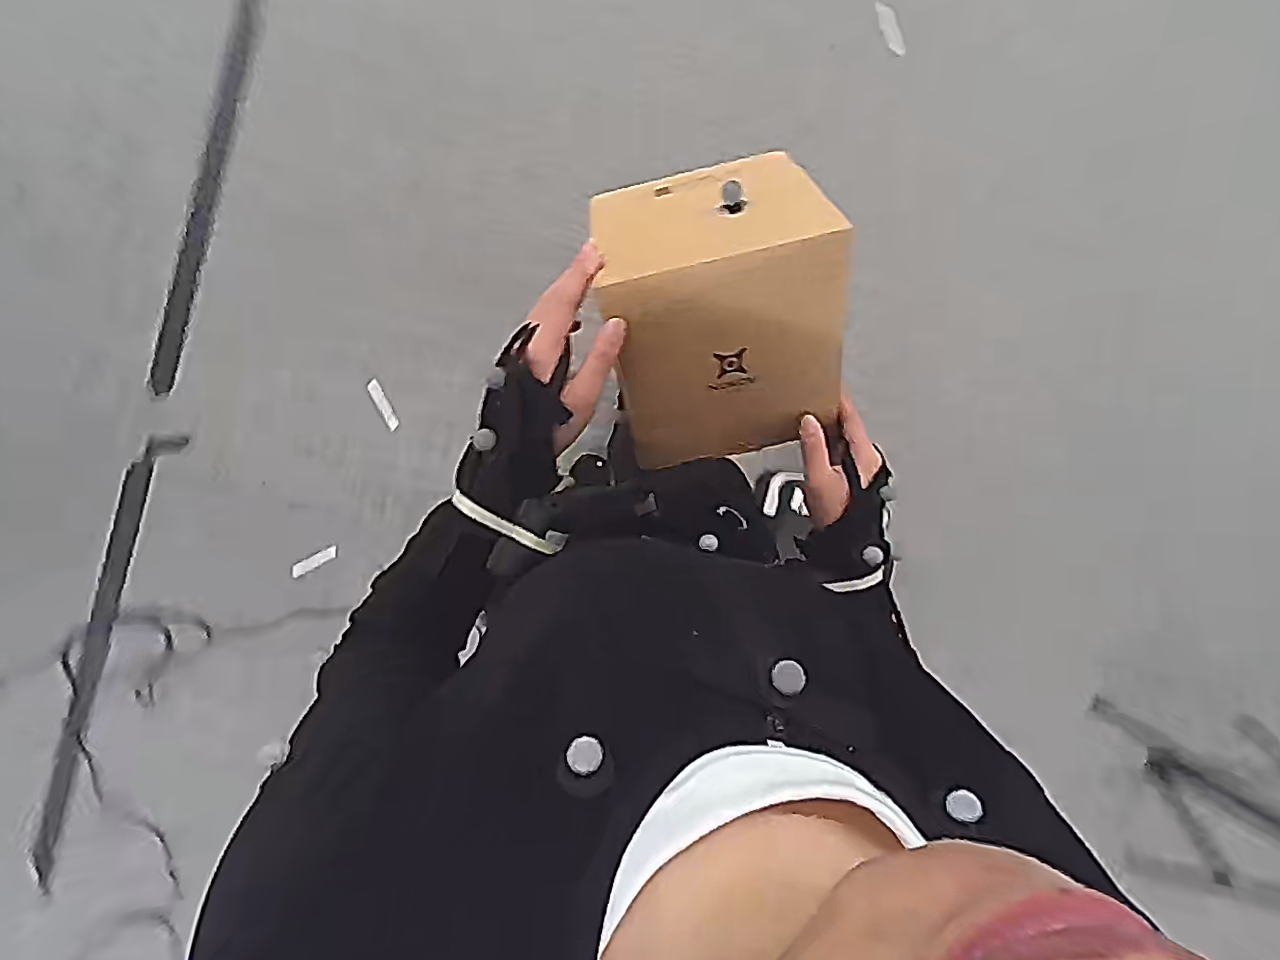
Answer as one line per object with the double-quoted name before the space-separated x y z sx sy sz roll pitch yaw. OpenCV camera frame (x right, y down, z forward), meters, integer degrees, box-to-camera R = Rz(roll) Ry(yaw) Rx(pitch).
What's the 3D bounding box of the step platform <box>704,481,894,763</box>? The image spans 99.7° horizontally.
"step platform" 0.399 0.354 1.377 0.286 0.204 0.684 15 91 -11
